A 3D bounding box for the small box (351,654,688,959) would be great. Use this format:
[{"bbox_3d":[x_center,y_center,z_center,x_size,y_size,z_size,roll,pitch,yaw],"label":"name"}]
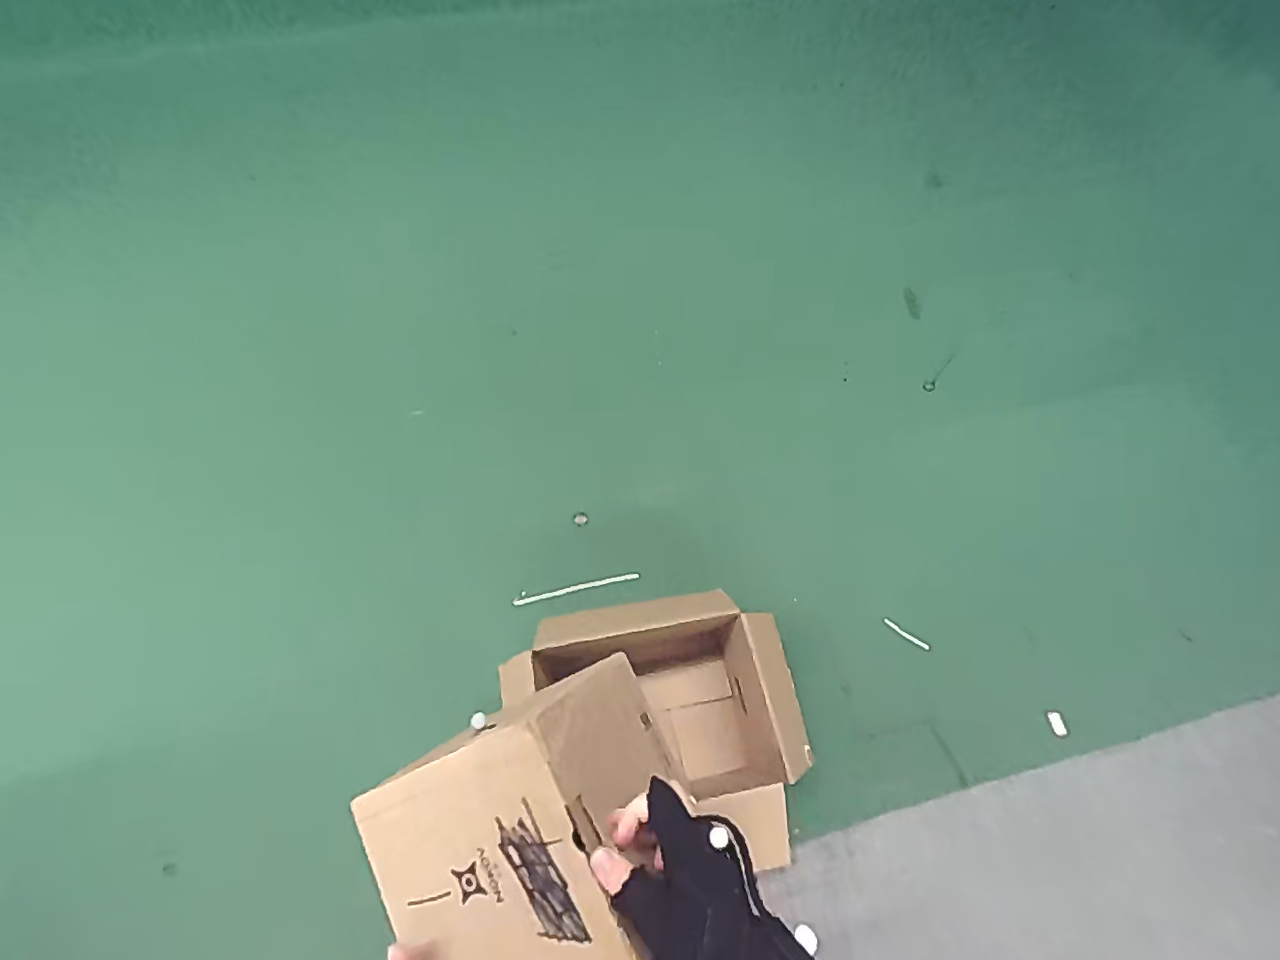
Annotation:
[{"bbox_3d":[-0.077,0.262,0.430,0.179,0.176,0.168,-30,80,17],"label":"small box"}]
